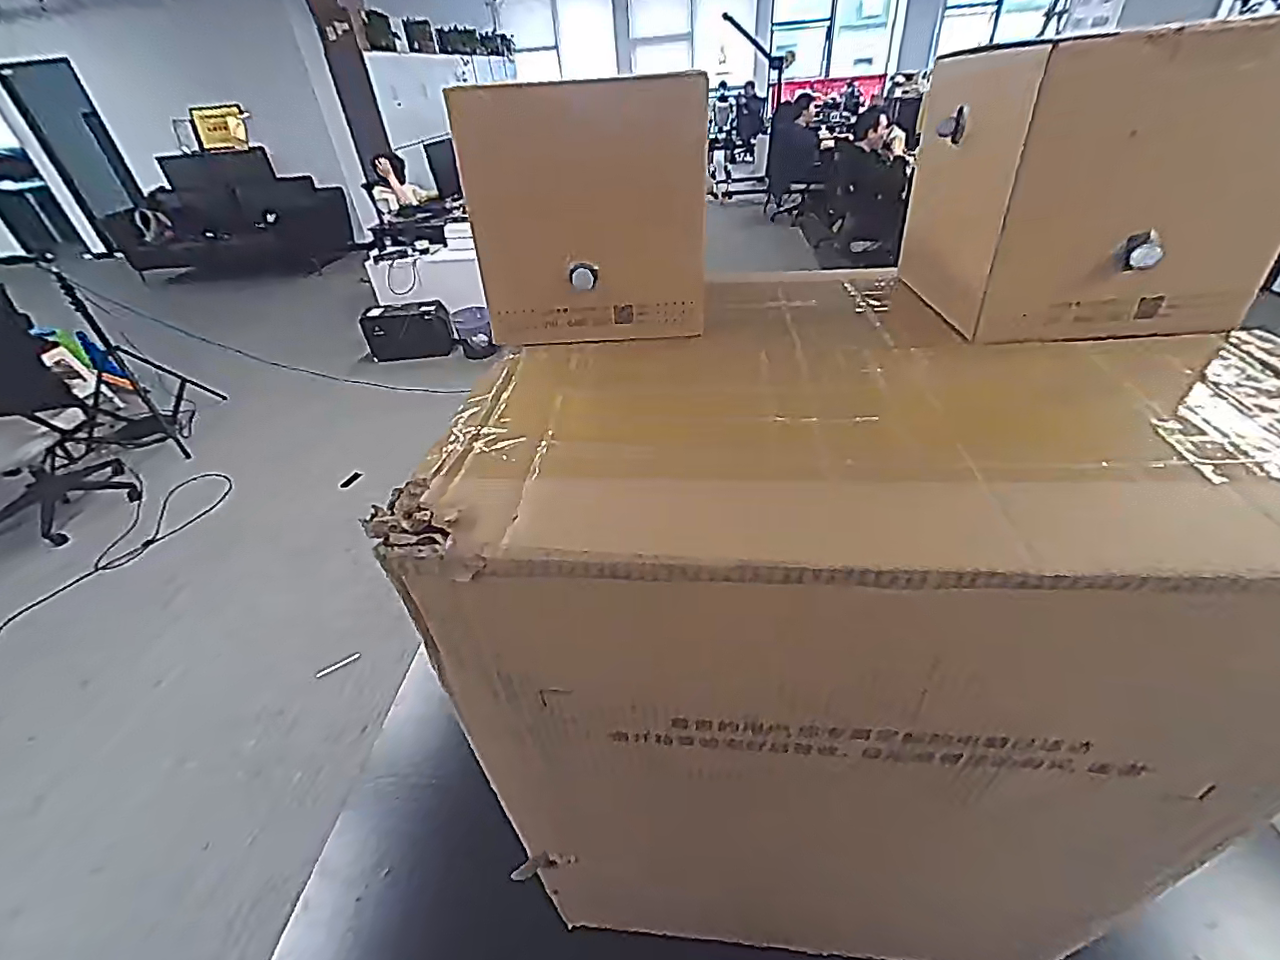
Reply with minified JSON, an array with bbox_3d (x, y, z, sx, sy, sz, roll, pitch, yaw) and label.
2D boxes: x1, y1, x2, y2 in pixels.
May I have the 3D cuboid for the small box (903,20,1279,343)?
[{"bbox_3d":[0.309,-0.208,0.388,0.168,0.176,0.179,-2,35,7],"label":"small box"}]

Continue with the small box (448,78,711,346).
[{"bbox_3d":[-0.036,-0.220,0.444,0.168,0.176,0.179,-3,36,1],"label":"small box"}]
